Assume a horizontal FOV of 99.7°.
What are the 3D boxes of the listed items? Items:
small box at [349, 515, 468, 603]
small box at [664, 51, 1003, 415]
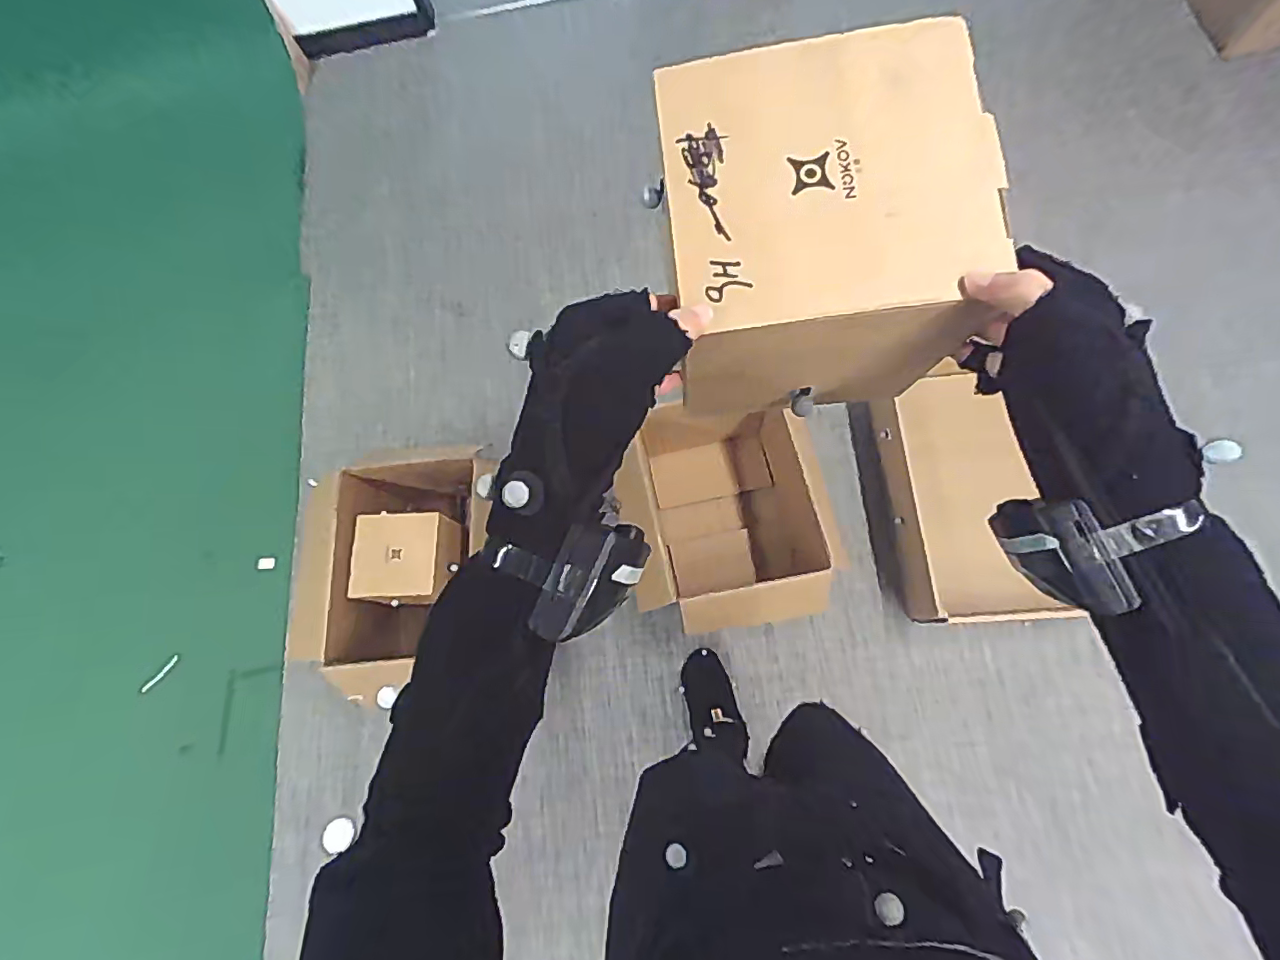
[{"bbox_3d":[-0.483,0.173,1.156,0.179,0.176,0.168,-3,73,4],"label":"small box"},{"bbox_3d":[0.110,-0.153,0.387,0.179,0.176,0.168,-5,80,2],"label":"small box"}]
